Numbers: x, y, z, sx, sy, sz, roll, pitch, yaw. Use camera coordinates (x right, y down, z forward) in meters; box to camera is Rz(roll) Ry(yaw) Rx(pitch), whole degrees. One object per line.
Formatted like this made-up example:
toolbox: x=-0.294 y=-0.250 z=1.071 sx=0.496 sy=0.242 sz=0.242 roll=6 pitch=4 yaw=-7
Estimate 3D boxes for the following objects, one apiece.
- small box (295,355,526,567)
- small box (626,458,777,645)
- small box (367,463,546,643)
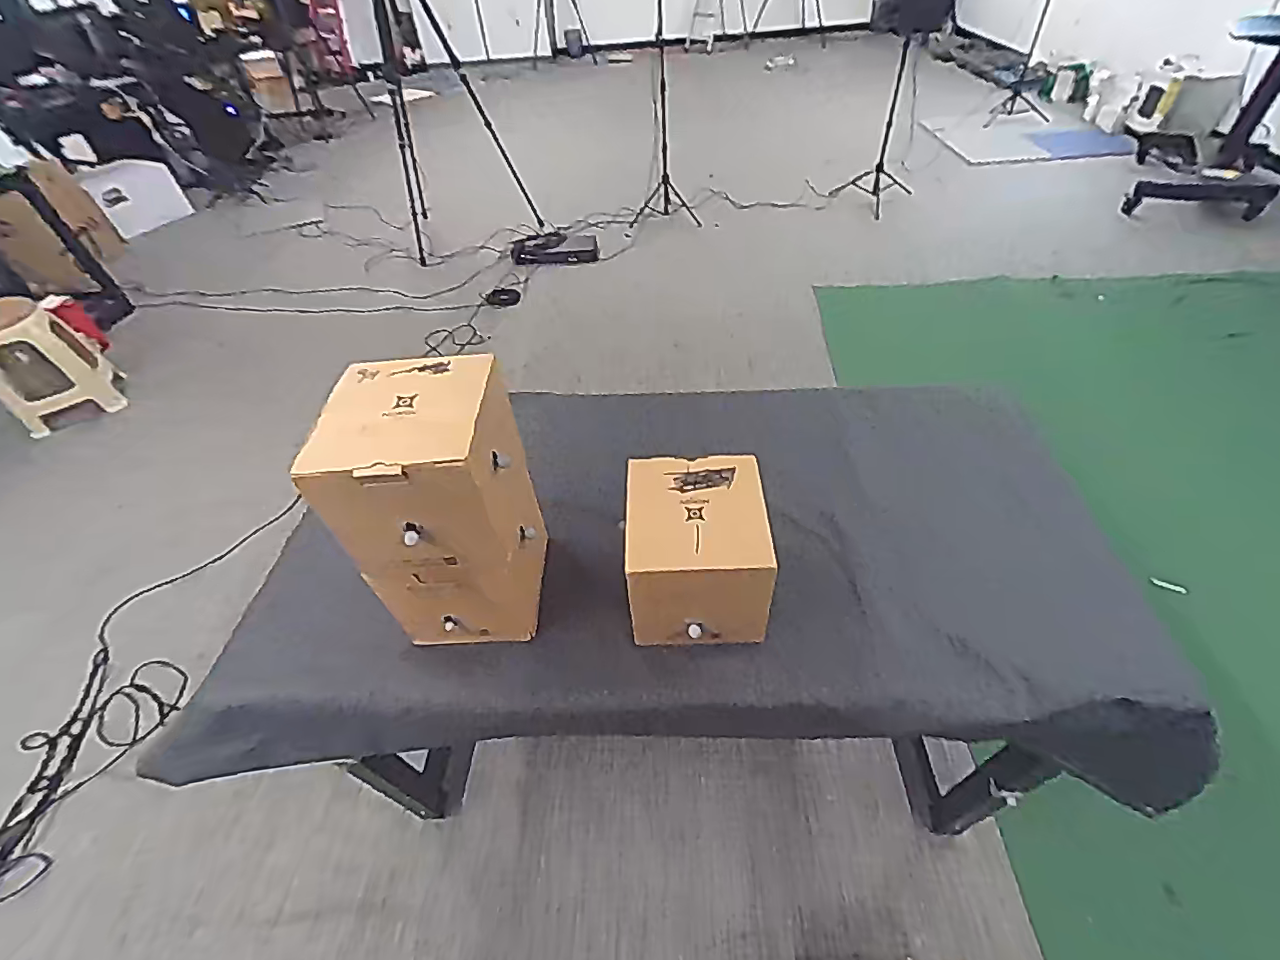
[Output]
small box: x=-0.231 y=-0.015 z=0.602 sx=0.168 sy=0.176 sz=0.179 roll=-4 pitch=47 yaw=1
small box: x=0.072 y=0.092 z=0.696 sx=0.168 sy=0.176 sz=0.179 roll=-2 pitch=46 yaw=3
small box: x=-0.226 y=0.097 z=0.722 sx=0.168 sy=0.176 sz=0.179 roll=-3 pitch=46 yaw=2
